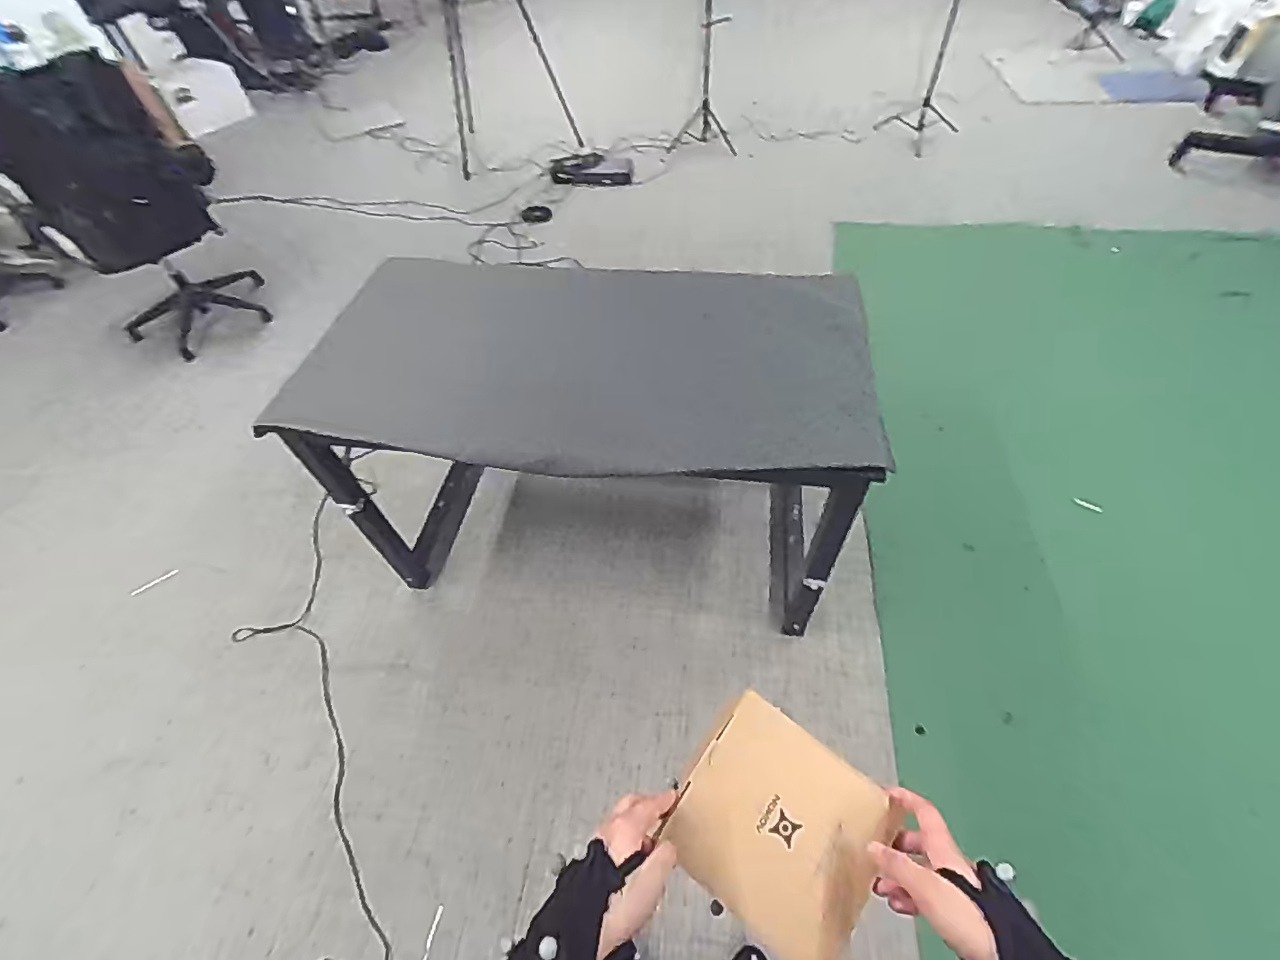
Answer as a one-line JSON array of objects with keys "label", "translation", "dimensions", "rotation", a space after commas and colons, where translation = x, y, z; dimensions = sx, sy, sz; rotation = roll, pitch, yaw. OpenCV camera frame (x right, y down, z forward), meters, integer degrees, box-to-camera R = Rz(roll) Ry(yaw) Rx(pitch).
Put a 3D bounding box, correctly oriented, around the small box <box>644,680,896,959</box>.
[{"label": "small box", "translation": [0.119, 0.338, 0.562], "dimensions": [0.179, 0.176, 0.168], "rotation": [33, 70, 15]}]
